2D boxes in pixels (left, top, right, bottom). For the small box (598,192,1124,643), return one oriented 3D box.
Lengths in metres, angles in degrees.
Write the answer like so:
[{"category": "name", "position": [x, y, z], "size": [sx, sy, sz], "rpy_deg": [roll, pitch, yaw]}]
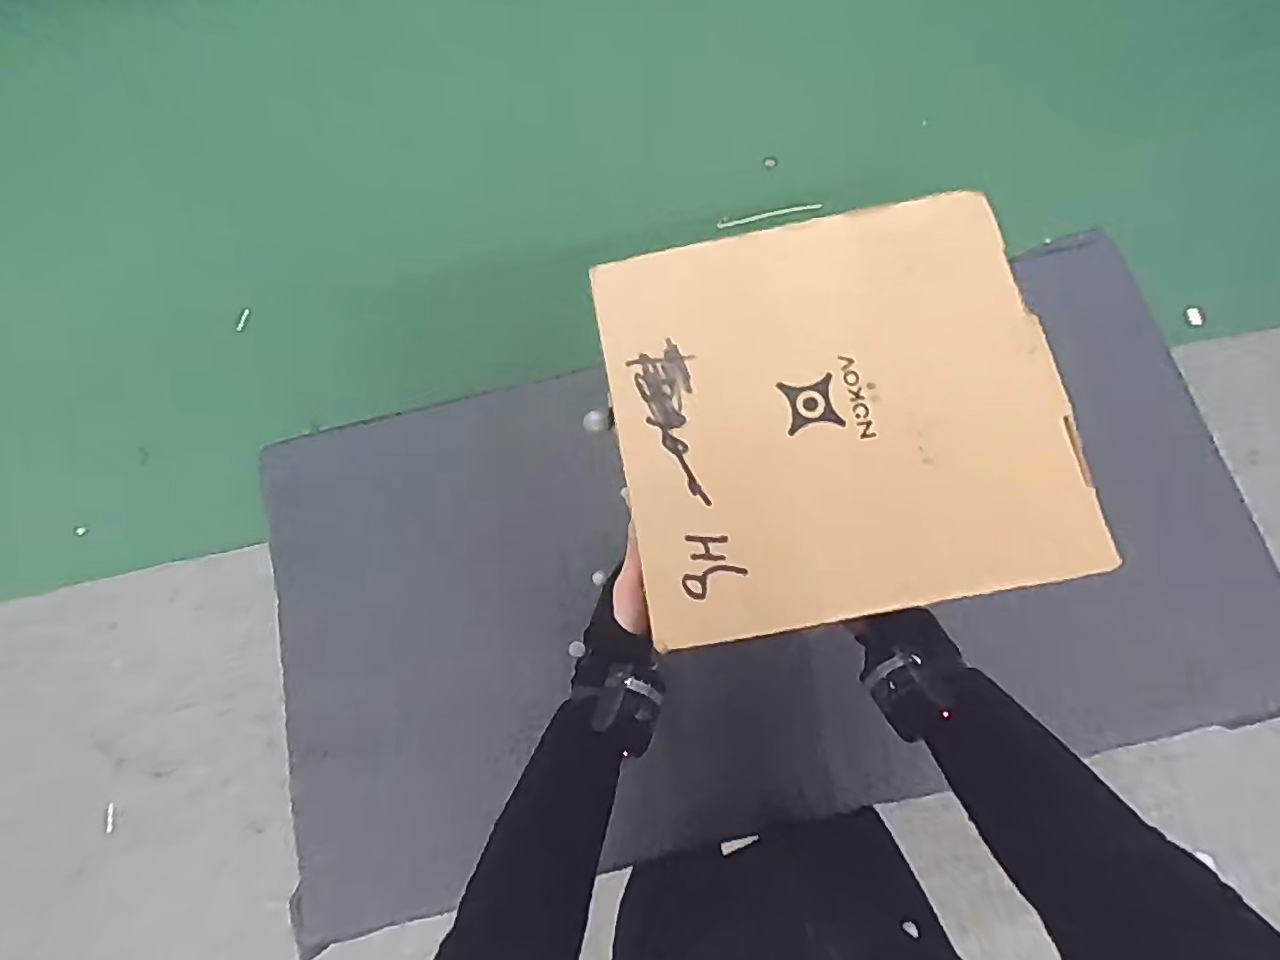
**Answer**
[{"category": "small box", "position": [0.081, -0.013, 0.291], "size": [0.179, 0.176, 0.168], "rpy_deg": [-10, 75, 0]}]
